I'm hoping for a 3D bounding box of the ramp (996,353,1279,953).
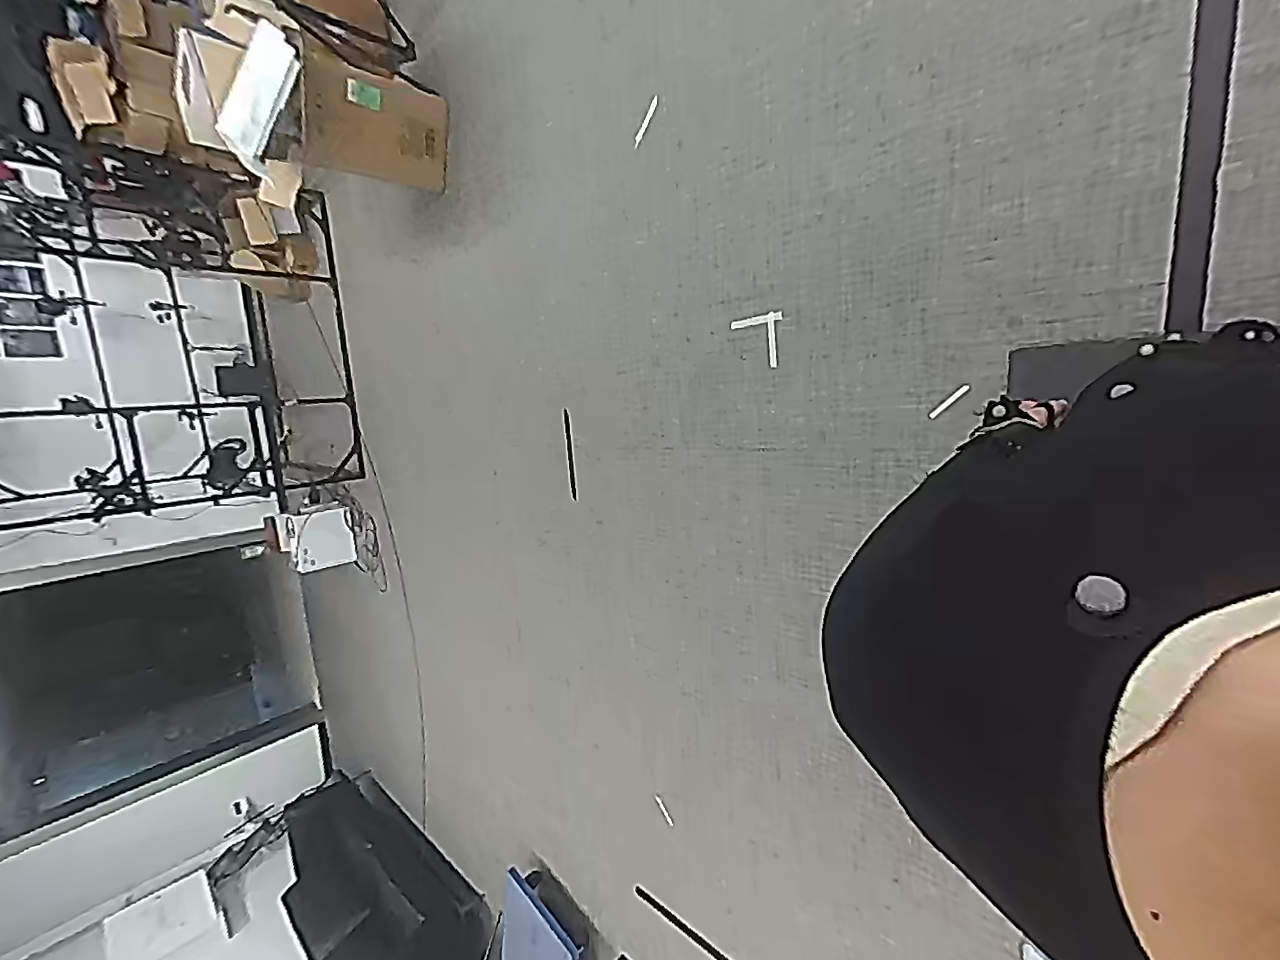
[{"bbox_3d":[0.977,0.273,1.004,0.509,0.206,0.991,2,98,46],"label":"ramp"}]
